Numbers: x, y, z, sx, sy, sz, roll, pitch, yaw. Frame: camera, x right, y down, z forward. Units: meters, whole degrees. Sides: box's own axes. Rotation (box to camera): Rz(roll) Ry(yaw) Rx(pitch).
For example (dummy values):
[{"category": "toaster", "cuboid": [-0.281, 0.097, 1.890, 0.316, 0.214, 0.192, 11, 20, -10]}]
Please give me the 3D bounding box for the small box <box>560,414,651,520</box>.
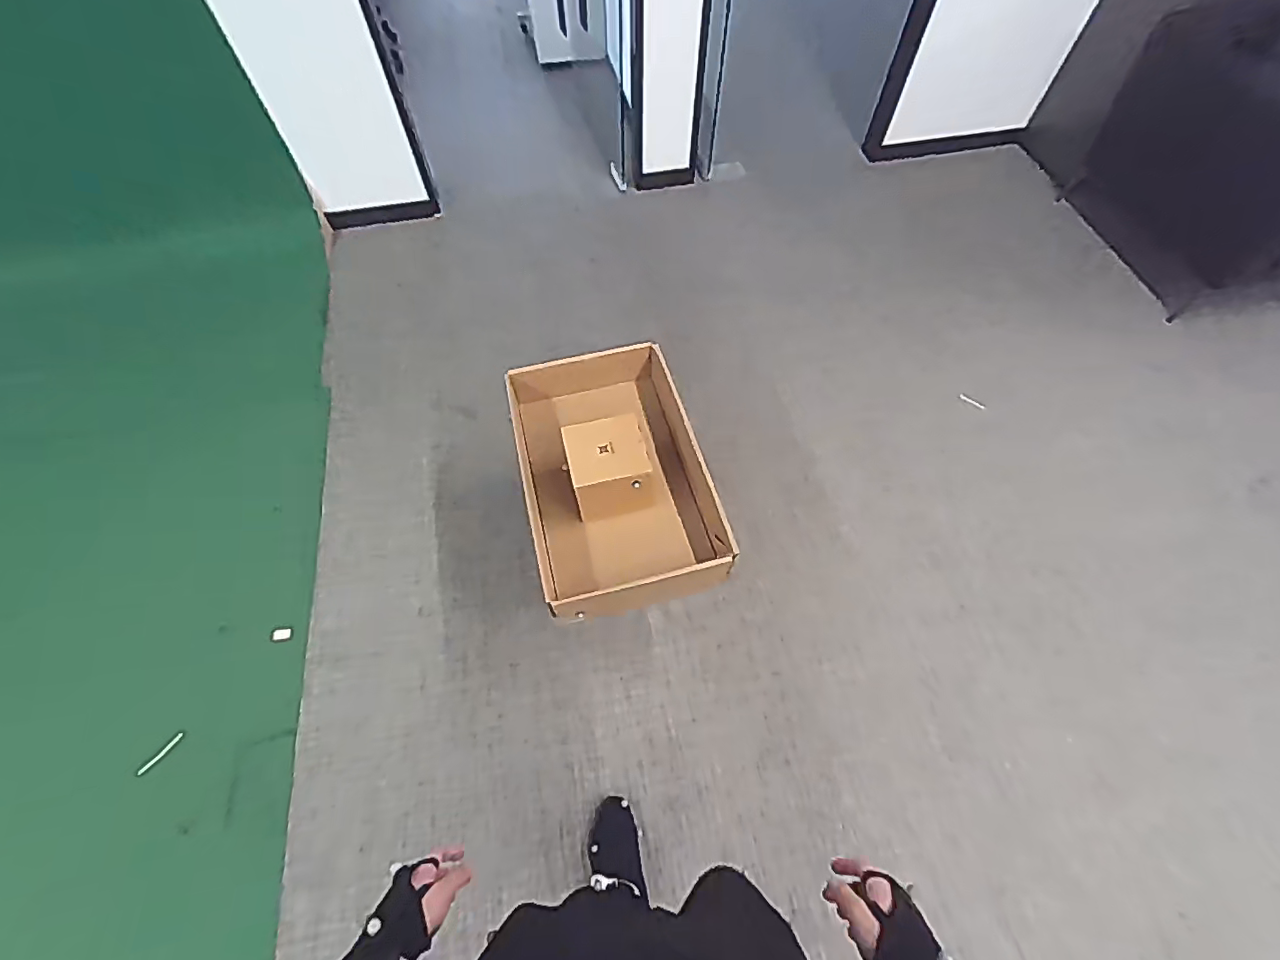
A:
[{"category": "small box", "cuboid": [-0.077, -0.025, 1.248, 0.179, 0.176, 0.168, -12, 60, -8]}]
